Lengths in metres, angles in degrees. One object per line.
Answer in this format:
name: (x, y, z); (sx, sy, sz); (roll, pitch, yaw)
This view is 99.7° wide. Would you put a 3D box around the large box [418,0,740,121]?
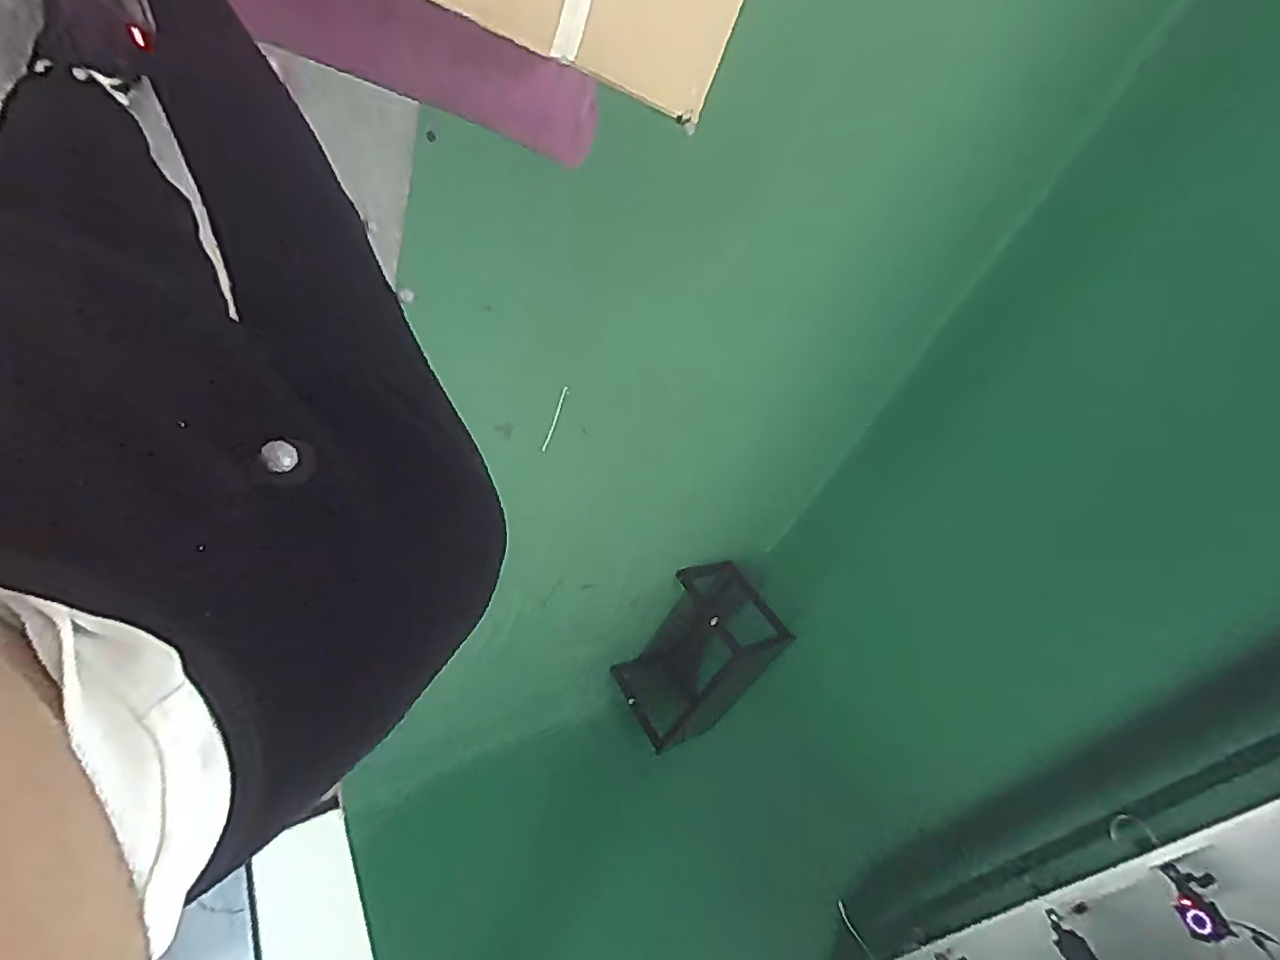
large box: (-0.068, -0.590, 0.413); (0.320, 0.320, 0.408); (-5, 135, -39)
